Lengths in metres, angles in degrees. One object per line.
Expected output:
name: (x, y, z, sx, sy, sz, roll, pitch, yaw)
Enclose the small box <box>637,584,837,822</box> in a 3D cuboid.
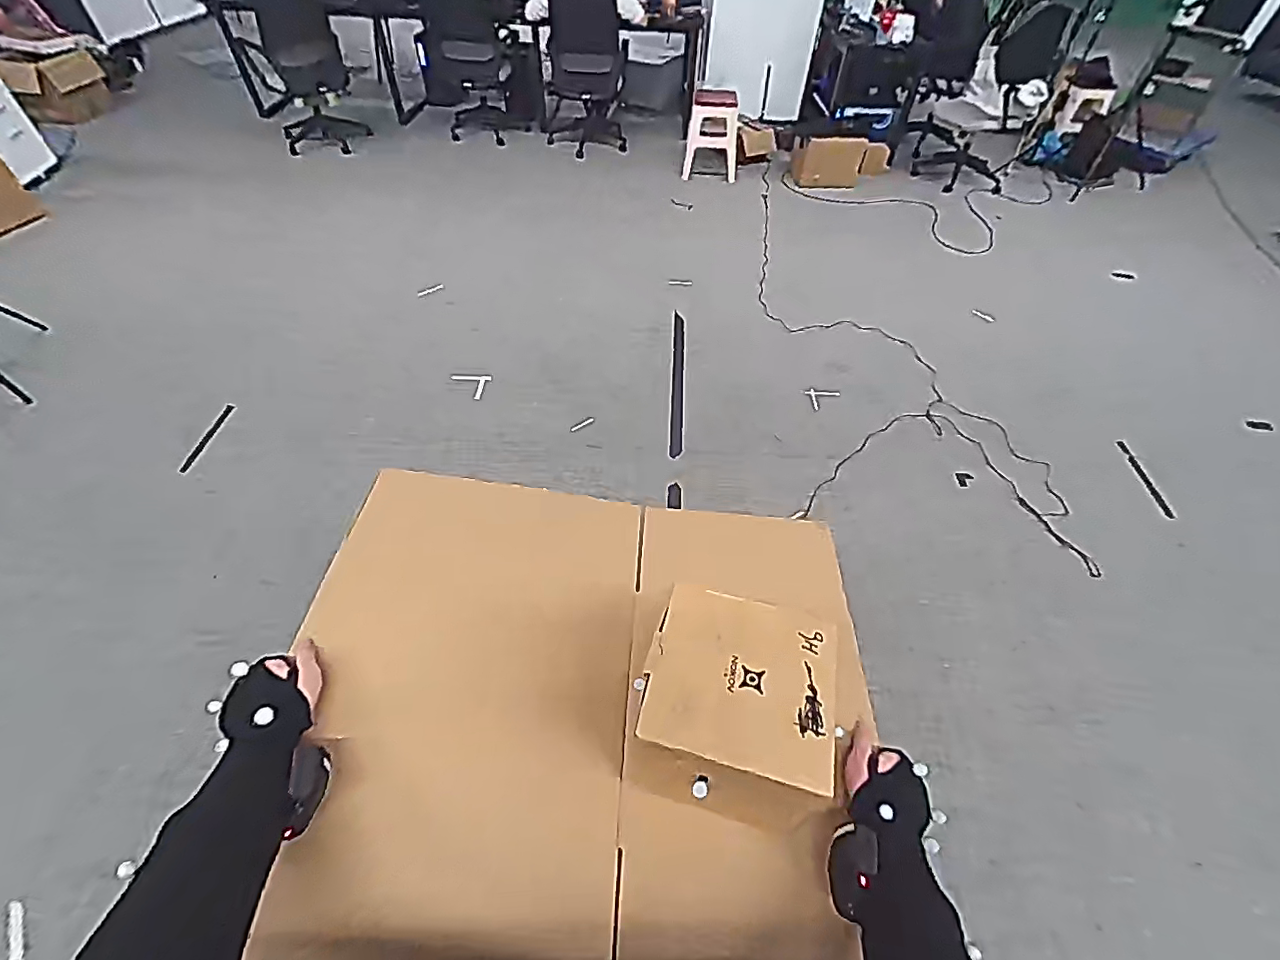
small box: (0.099, 0.242, 0.582, 0.179, 0.176, 0.168, 13, 48, 9)
